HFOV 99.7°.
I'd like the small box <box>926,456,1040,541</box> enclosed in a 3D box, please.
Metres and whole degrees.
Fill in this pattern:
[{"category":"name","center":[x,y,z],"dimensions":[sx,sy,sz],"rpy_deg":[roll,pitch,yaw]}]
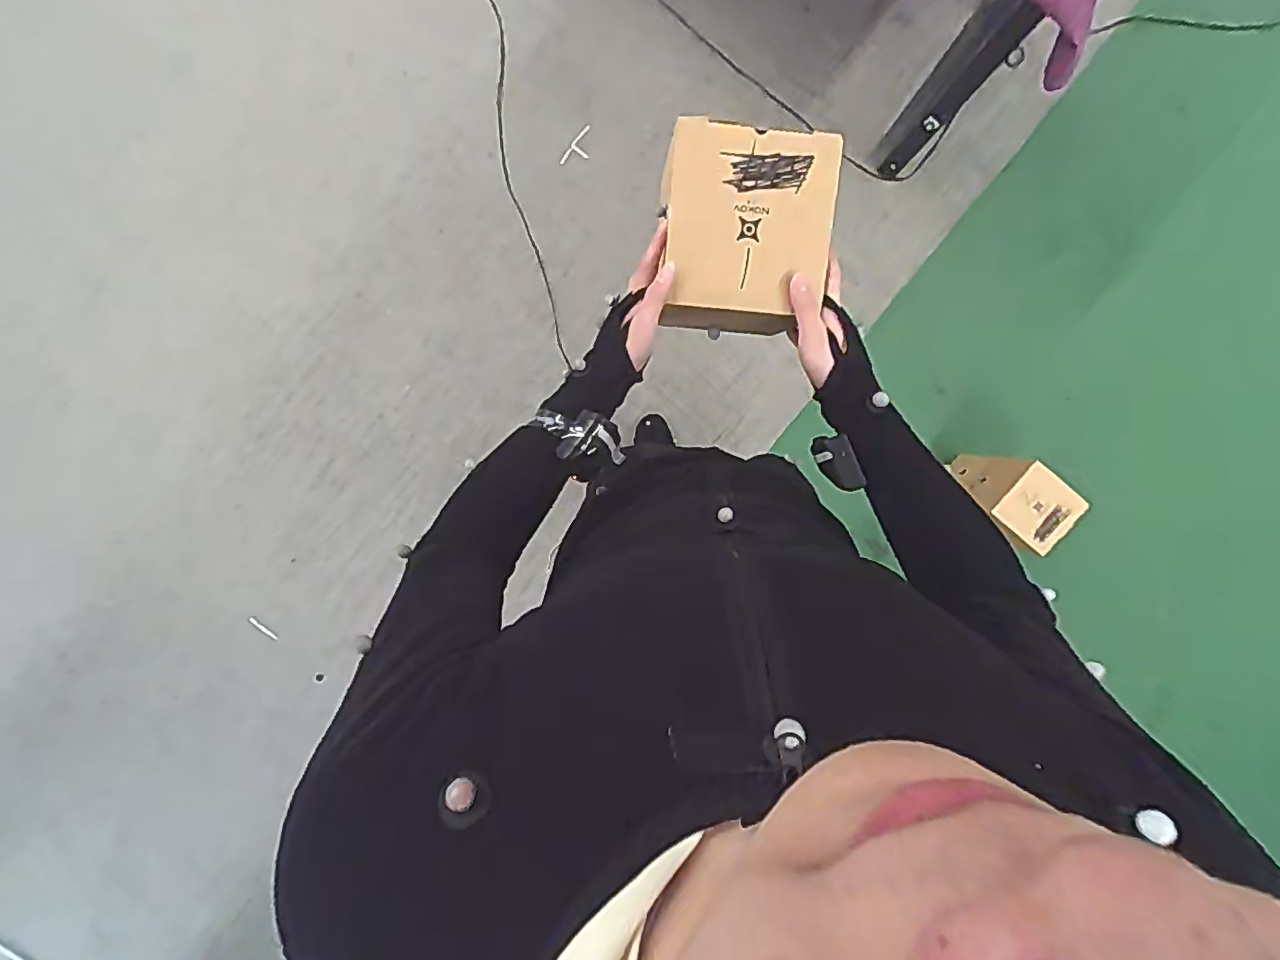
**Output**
[{"category":"small box","center":[0.960,0.046,1.532],"dimensions":[0.179,0.176,0.168],"rpy_deg":[39,94,-3]}]
